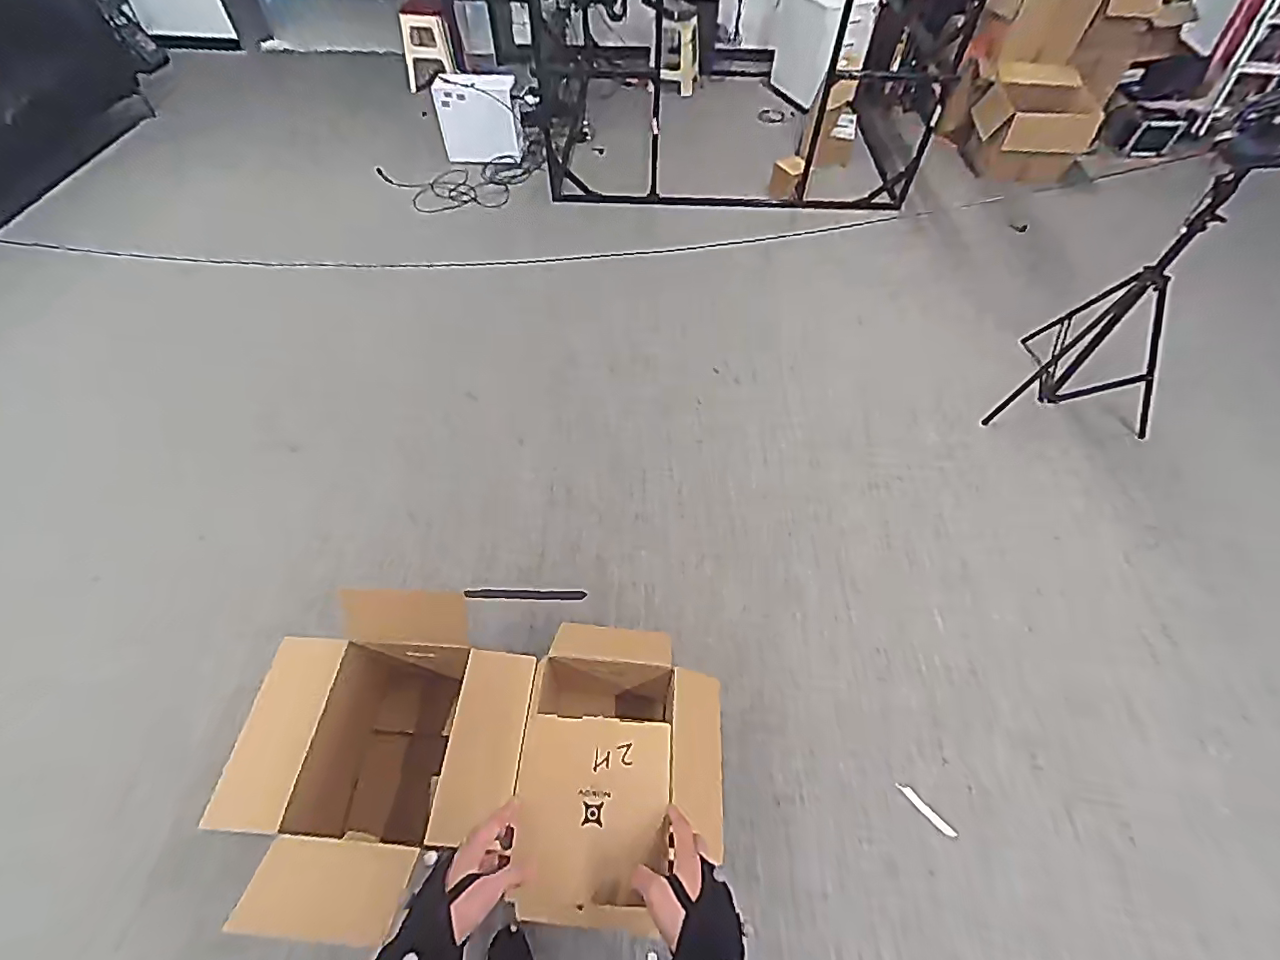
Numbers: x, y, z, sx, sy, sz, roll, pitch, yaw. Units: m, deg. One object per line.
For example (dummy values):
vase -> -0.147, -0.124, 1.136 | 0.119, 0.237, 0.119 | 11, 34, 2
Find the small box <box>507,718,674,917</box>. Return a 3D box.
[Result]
small box -> -0.053, 0.396, 0.651 | 0.168, 0.176, 0.179 | 6, 59, -3
